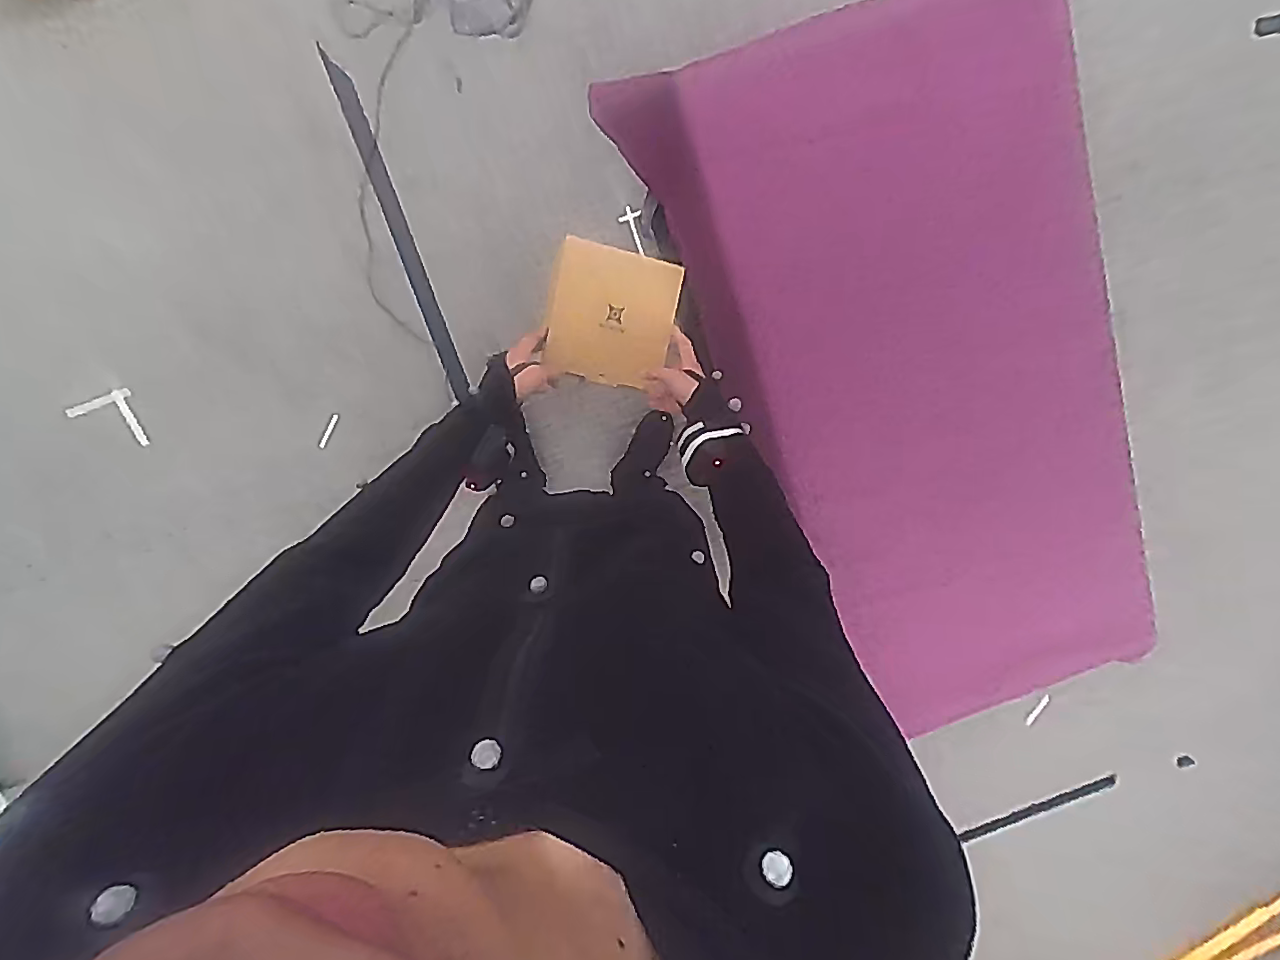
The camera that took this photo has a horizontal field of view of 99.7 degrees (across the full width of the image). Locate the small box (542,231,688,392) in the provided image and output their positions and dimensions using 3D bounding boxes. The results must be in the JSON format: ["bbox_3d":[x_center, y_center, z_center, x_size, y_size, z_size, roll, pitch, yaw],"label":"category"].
[{"bbox_3d":[-0.047,-0.235,0.792,0.168,0.176,0.179,10,100,-15],"label":"small box"}]
